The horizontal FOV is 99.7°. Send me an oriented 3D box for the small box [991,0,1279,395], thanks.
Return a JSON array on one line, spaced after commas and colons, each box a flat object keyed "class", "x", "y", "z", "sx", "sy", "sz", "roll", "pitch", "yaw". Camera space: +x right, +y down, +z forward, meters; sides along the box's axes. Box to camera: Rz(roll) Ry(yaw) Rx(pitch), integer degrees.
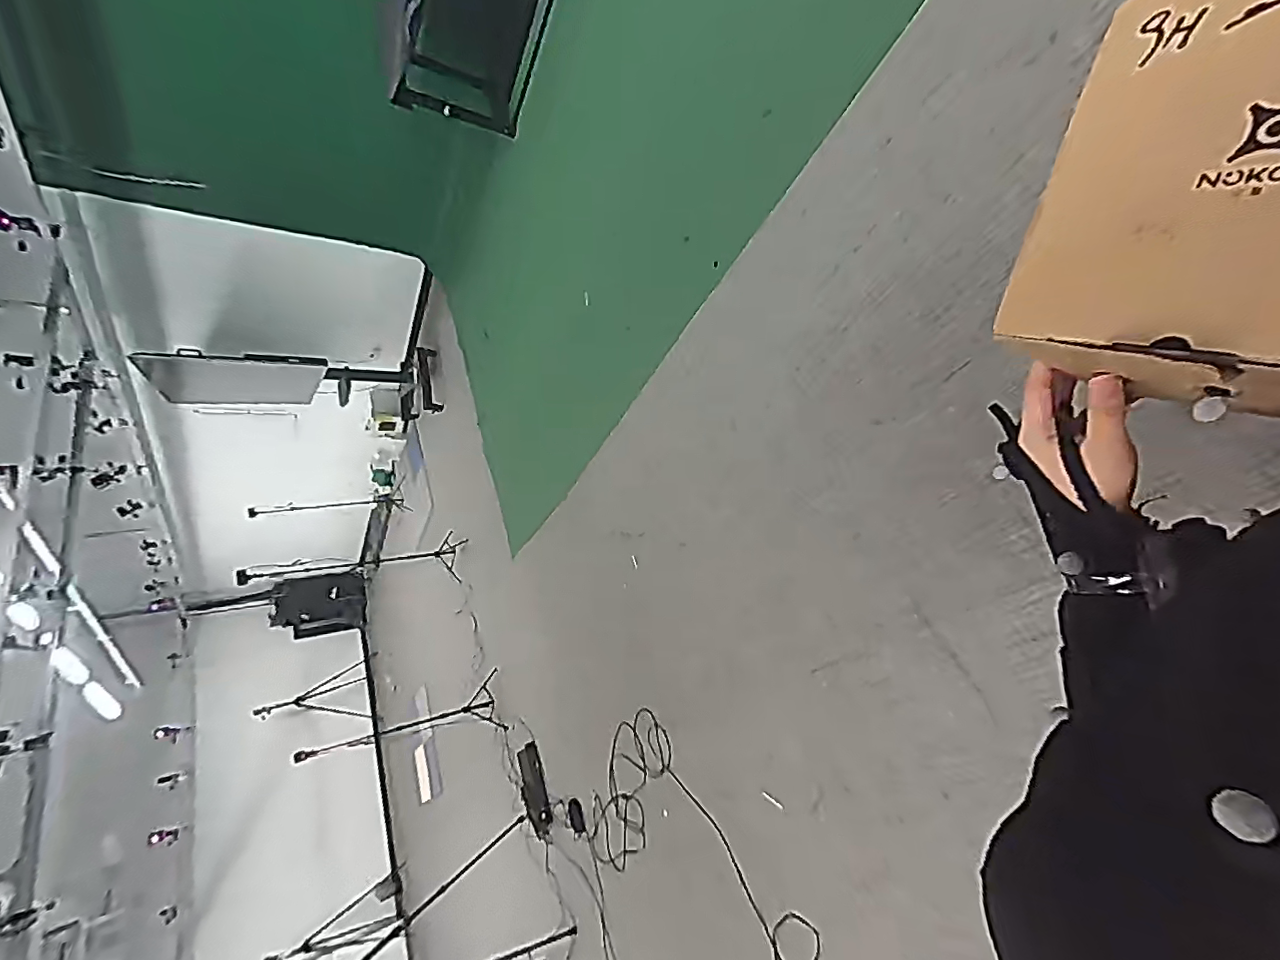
[{"class": "small box", "x": 0.337, "y": -0.141, "z": 0.283, "sx": 0.168, "sy": 0.176, "sz": 0.179, "roll": 33, "pitch": 114, "yaw": 54}]
